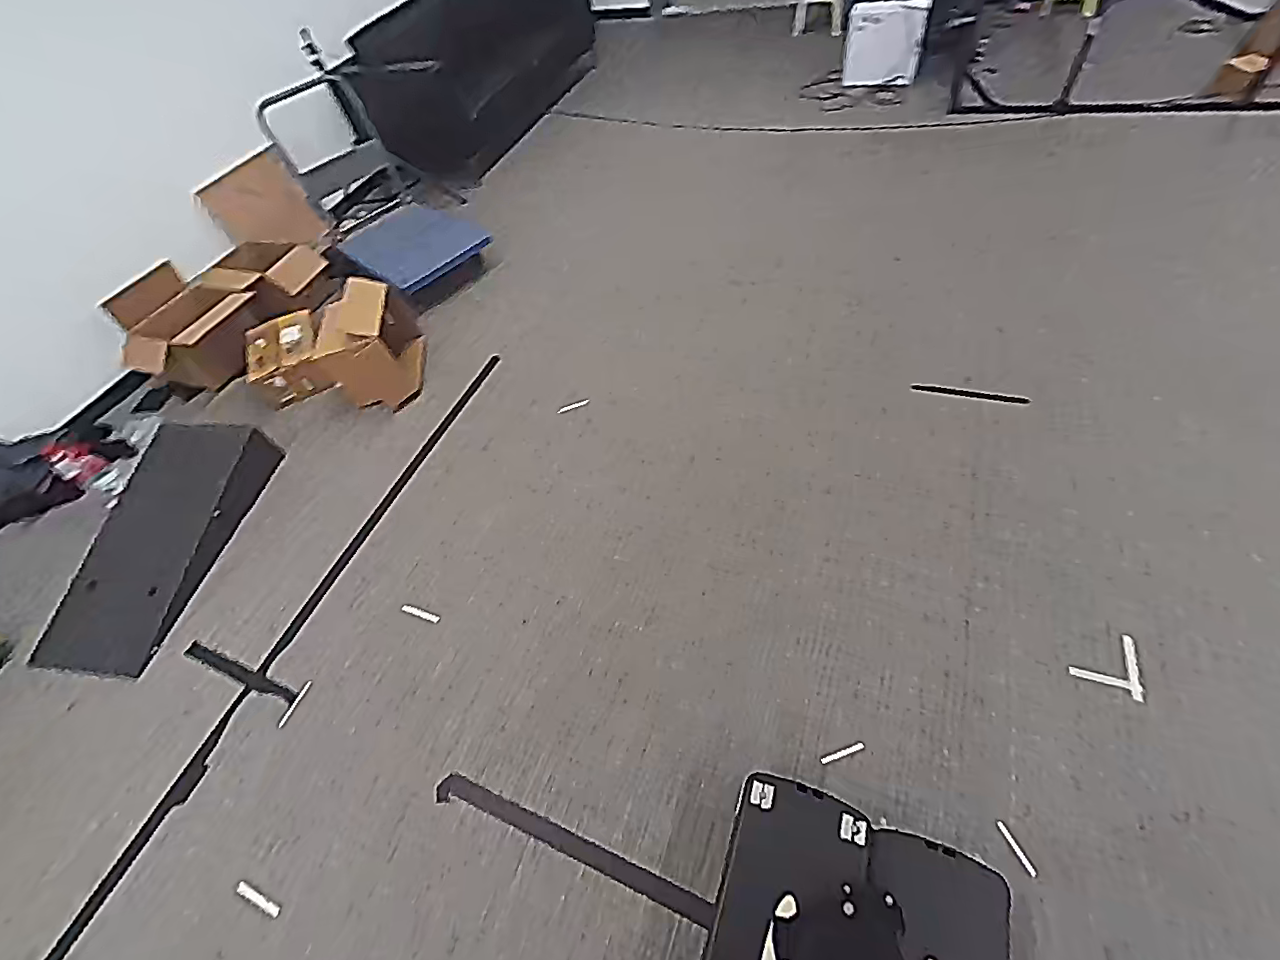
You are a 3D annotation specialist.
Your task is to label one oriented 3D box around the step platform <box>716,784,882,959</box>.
[{"bbox_3d":[0.297,1.014,1.096,0.286,0.204,0.684,12,56,18],"label":"step platform"}]
